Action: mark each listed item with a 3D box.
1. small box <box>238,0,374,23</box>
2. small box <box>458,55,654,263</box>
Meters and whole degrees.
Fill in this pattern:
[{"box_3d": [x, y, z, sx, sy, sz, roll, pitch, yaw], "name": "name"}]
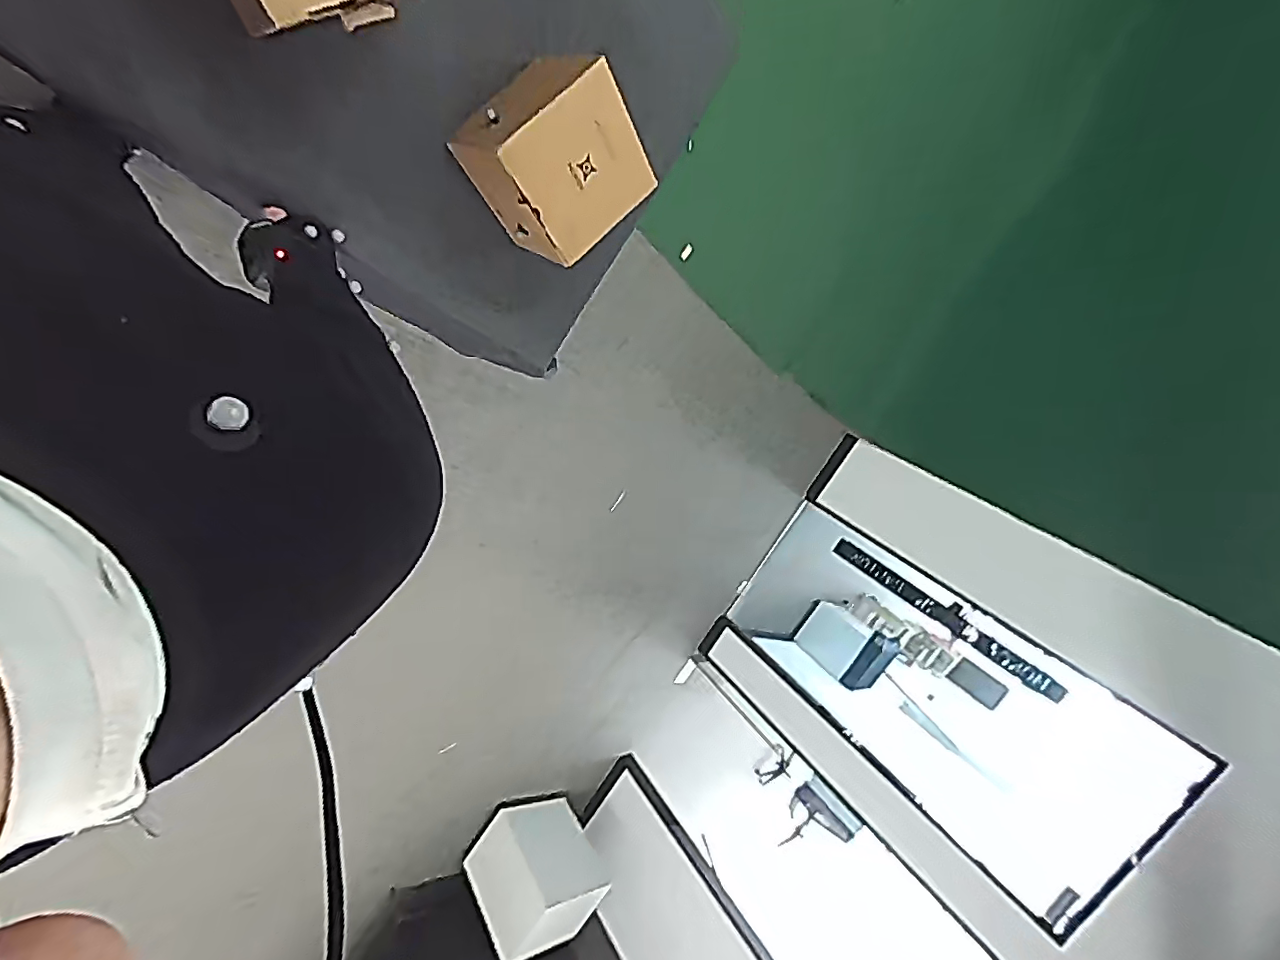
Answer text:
[{"box_3d": [-0.312, -0.535, 0.479, 0.168, 0.176, 0.179, -34, 138, -19], "name": "small box"}, {"box_3d": [-0.119, -0.430, 0.729, 0.179, 0.176, 0.168, -45, 140, -6], "name": "small box"}]
